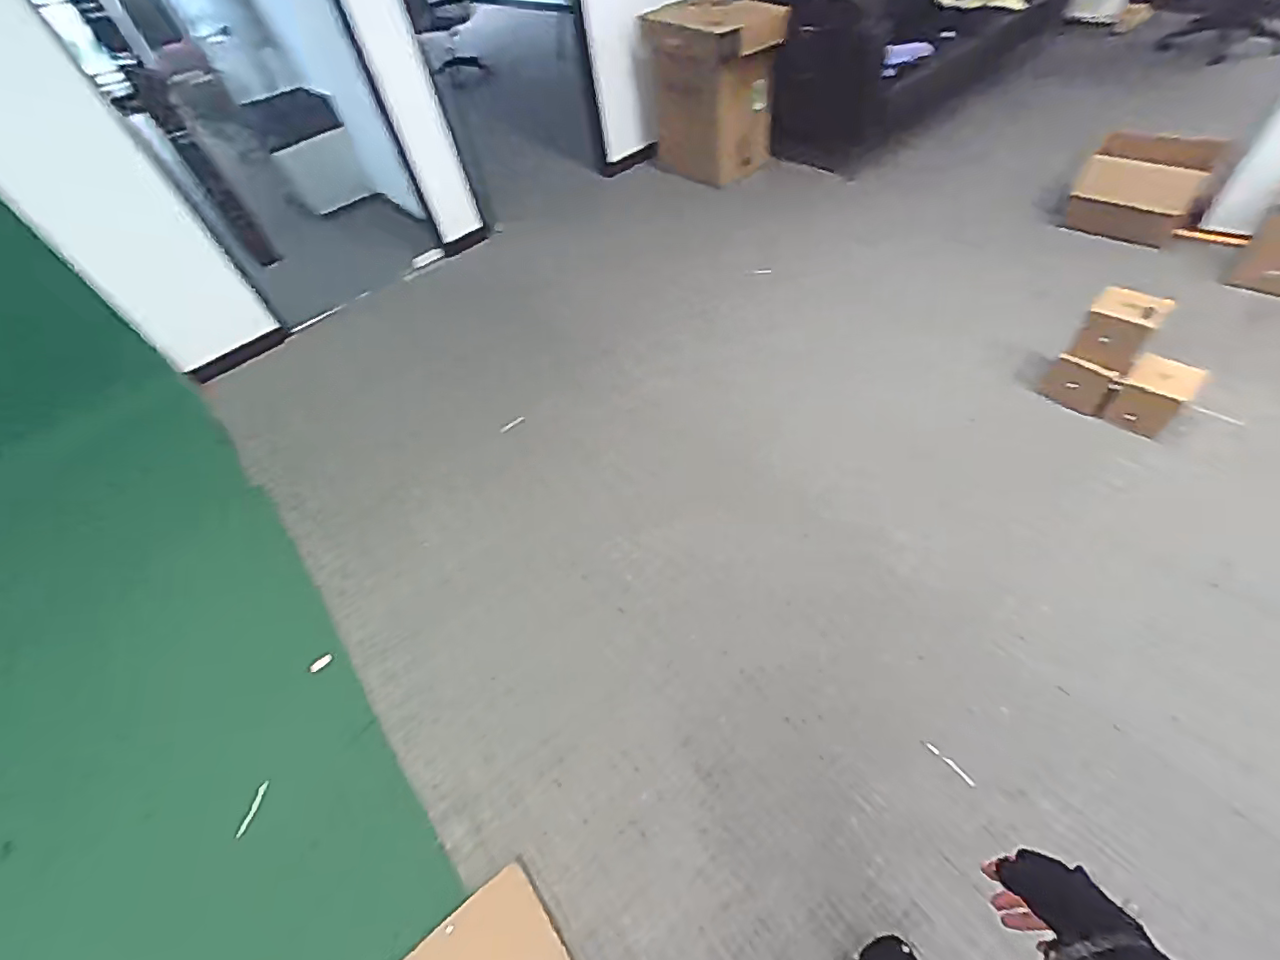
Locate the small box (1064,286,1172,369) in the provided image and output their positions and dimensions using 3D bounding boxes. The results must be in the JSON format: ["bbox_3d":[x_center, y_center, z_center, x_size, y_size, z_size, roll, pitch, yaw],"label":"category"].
[{"bbox_3d":[1.498,-0.476,1.704,0.168,0.176,0.179,-40,54,-22],"label":"small box"}]
